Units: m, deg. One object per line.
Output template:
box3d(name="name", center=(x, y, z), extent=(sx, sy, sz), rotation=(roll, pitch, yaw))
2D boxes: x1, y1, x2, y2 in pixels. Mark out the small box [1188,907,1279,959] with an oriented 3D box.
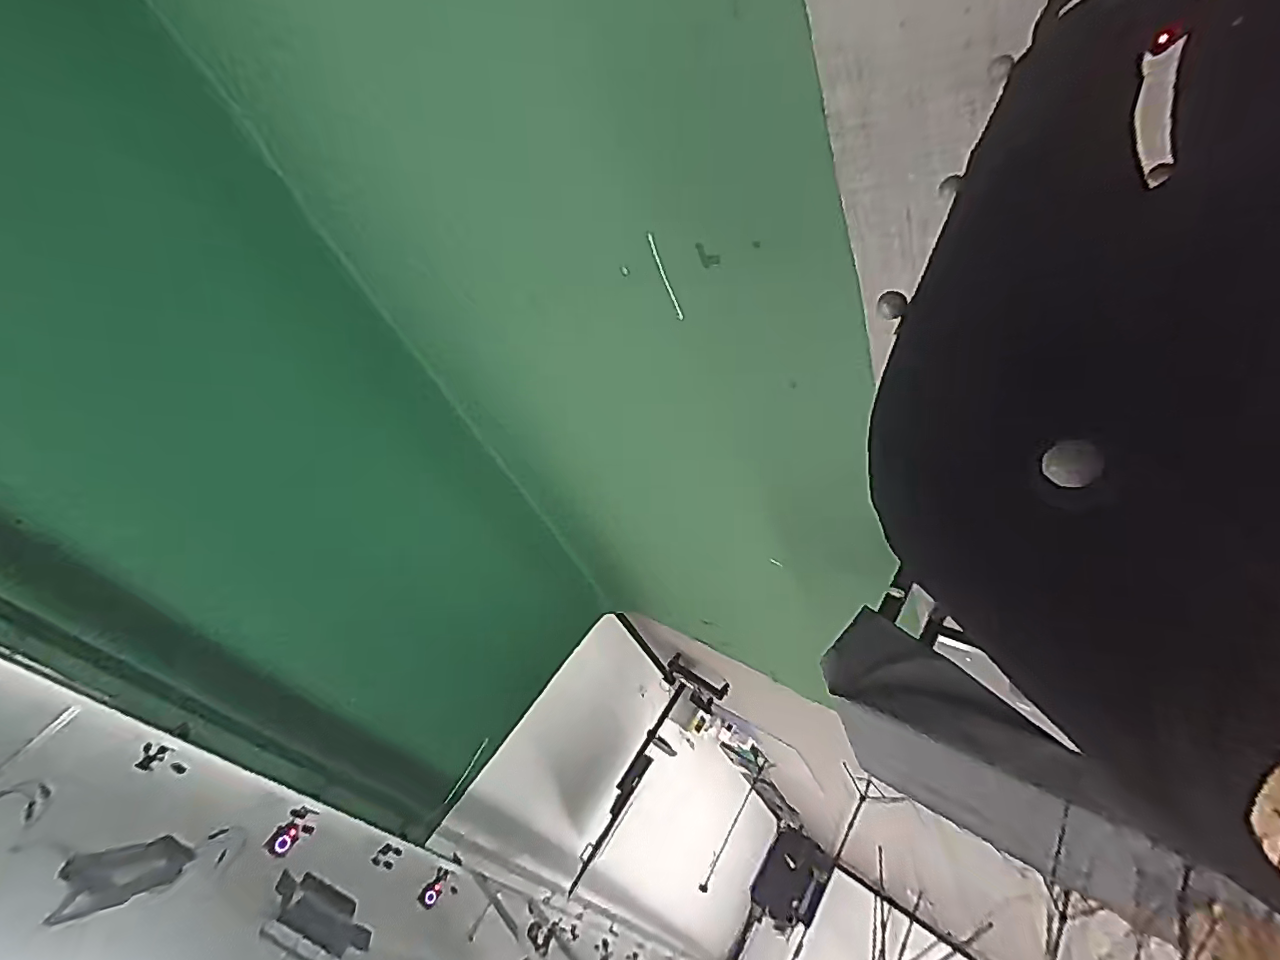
box3d(name="small box", center=(1.250, 1.007, 1.093), extent=(0.179, 0.176, 0.168), rotation=(18, 147, 38))
